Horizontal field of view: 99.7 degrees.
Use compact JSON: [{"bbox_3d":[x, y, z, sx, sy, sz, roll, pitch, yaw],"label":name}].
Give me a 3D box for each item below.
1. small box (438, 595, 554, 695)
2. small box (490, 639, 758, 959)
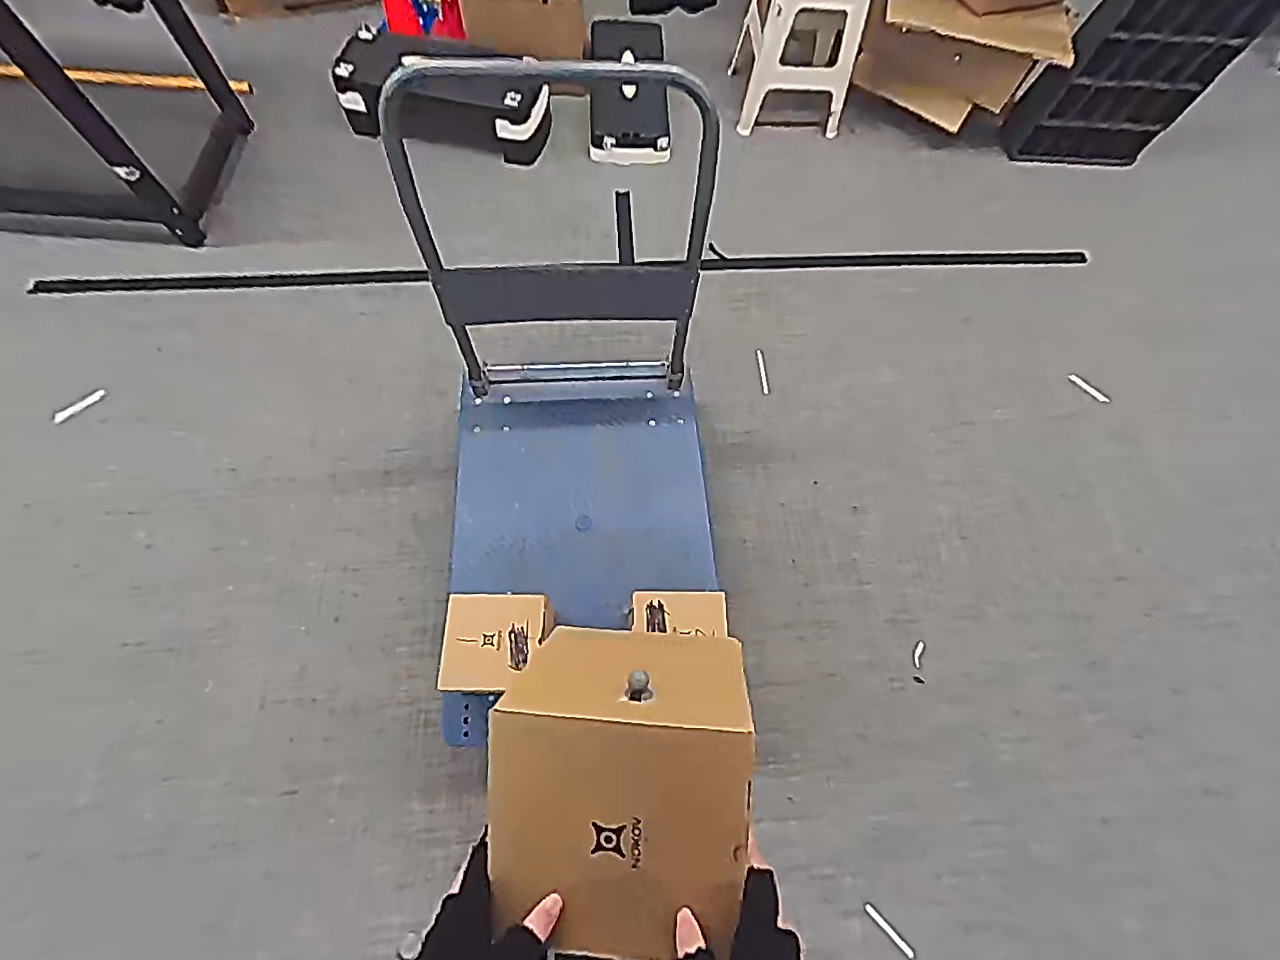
[{"bbox_3d":[-0.260,0.316,1.024,0.179,0.176,0.168,1,67,-2],"label":"small box"},{"bbox_3d":[-0.005,0.238,0.439,0.179,0.176,0.168,3,93,5],"label":"small box"}]
